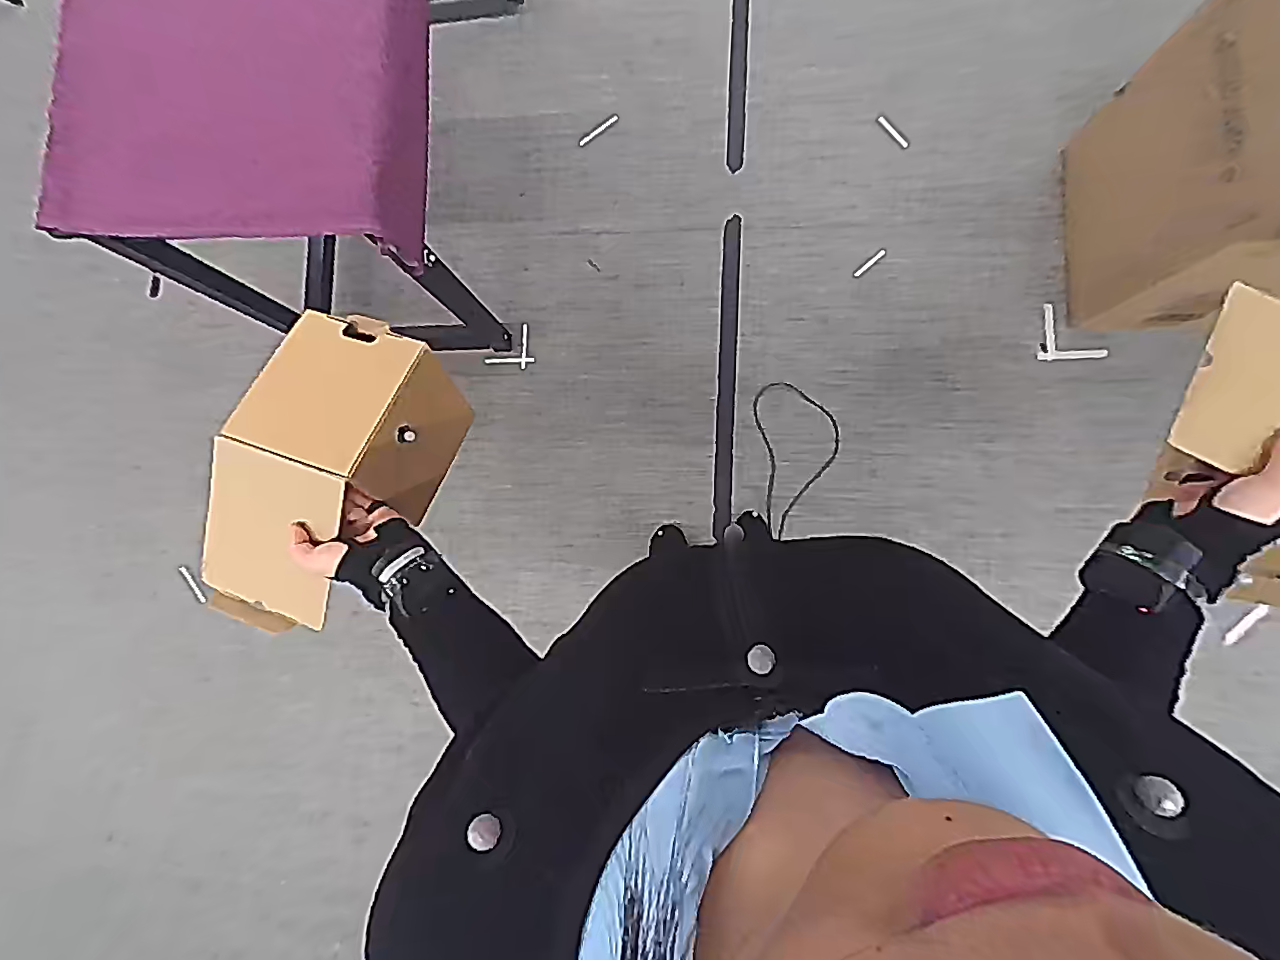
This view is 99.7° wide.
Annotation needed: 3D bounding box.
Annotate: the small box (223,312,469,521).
[{"bbox_3d":[-0.337,-0.068,0.663,0.168,0.176,0.179,17,69,11],"label":"small box"}]
